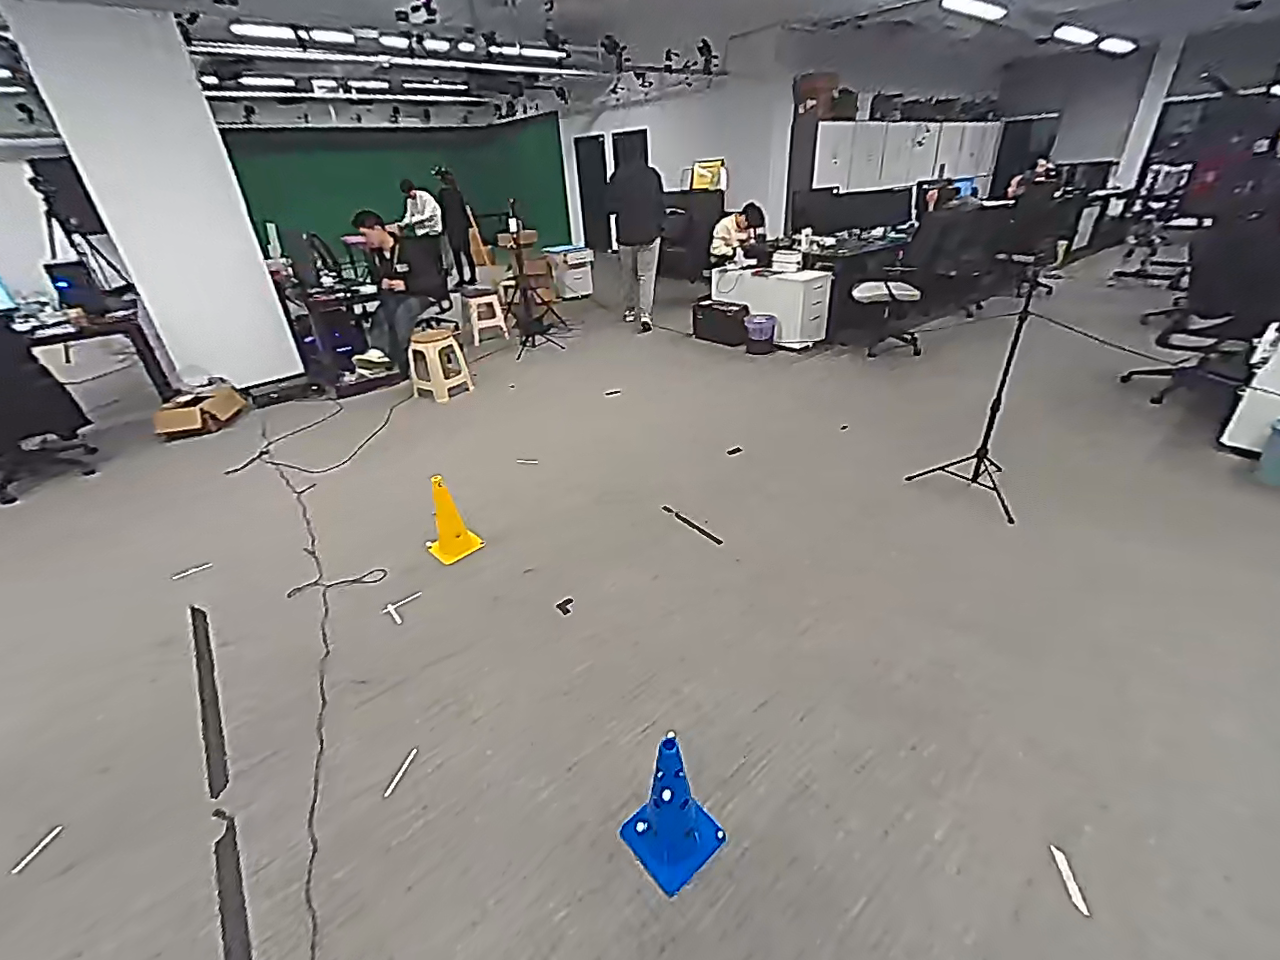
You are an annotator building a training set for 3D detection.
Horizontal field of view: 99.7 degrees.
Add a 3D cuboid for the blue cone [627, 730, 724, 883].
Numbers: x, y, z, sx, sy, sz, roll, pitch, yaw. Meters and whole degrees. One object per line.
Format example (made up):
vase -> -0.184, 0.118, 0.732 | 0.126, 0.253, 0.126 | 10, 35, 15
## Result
blue cone -> 0.077, 0.718, 1.246 | 0.192, 0.380, 0.193 | -23, 35, -32
